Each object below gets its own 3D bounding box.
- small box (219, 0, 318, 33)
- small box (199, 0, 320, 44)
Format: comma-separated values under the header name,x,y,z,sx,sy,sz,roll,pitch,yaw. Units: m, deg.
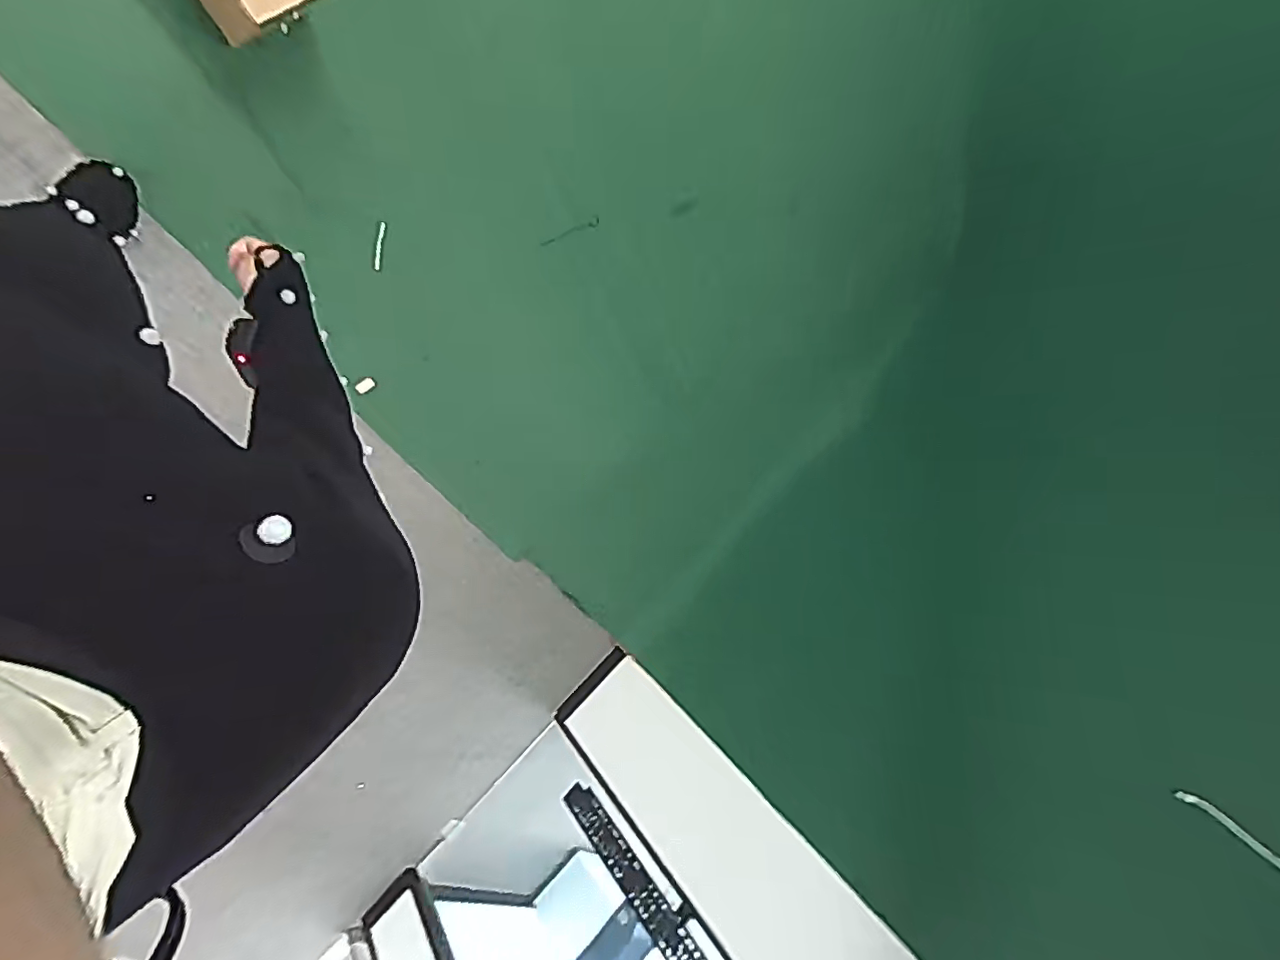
name,x,y,z,sx,sy,sz,roll,pitch,yaw
small box,-0.642,-0.882,0.898,0.179,0.176,0.168,-42,137,-15
small box,-0.742,-0.952,1.007,0.179,0.176,0.168,-42,137,-13
